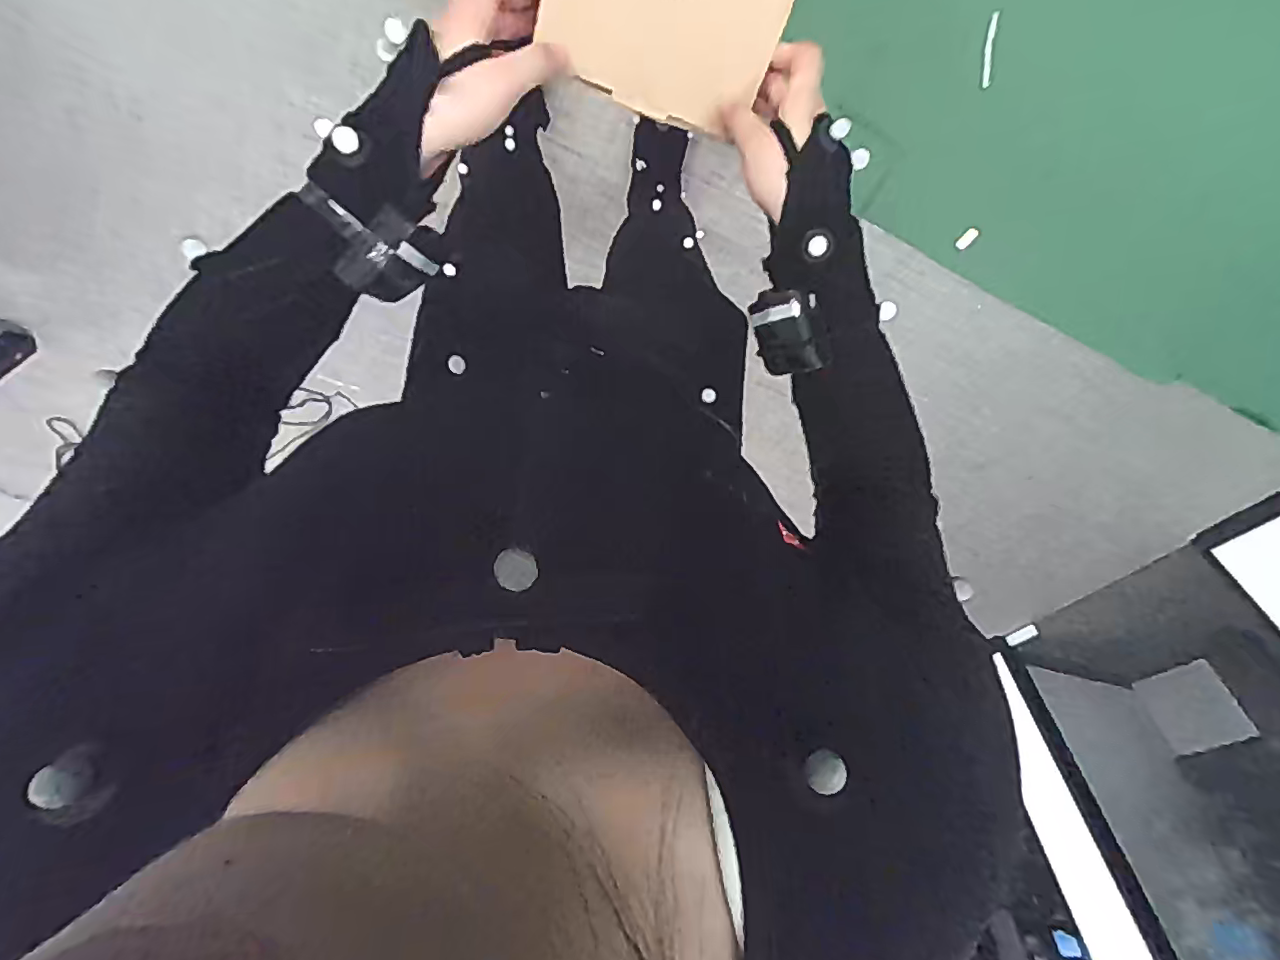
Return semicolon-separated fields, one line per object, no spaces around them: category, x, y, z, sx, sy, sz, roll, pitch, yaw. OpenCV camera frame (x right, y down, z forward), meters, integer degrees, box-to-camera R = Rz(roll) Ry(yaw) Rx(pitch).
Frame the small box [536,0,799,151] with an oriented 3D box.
small box;0.020;-0.389;0.413;0.168;0.176;0.179;8;129;-18
